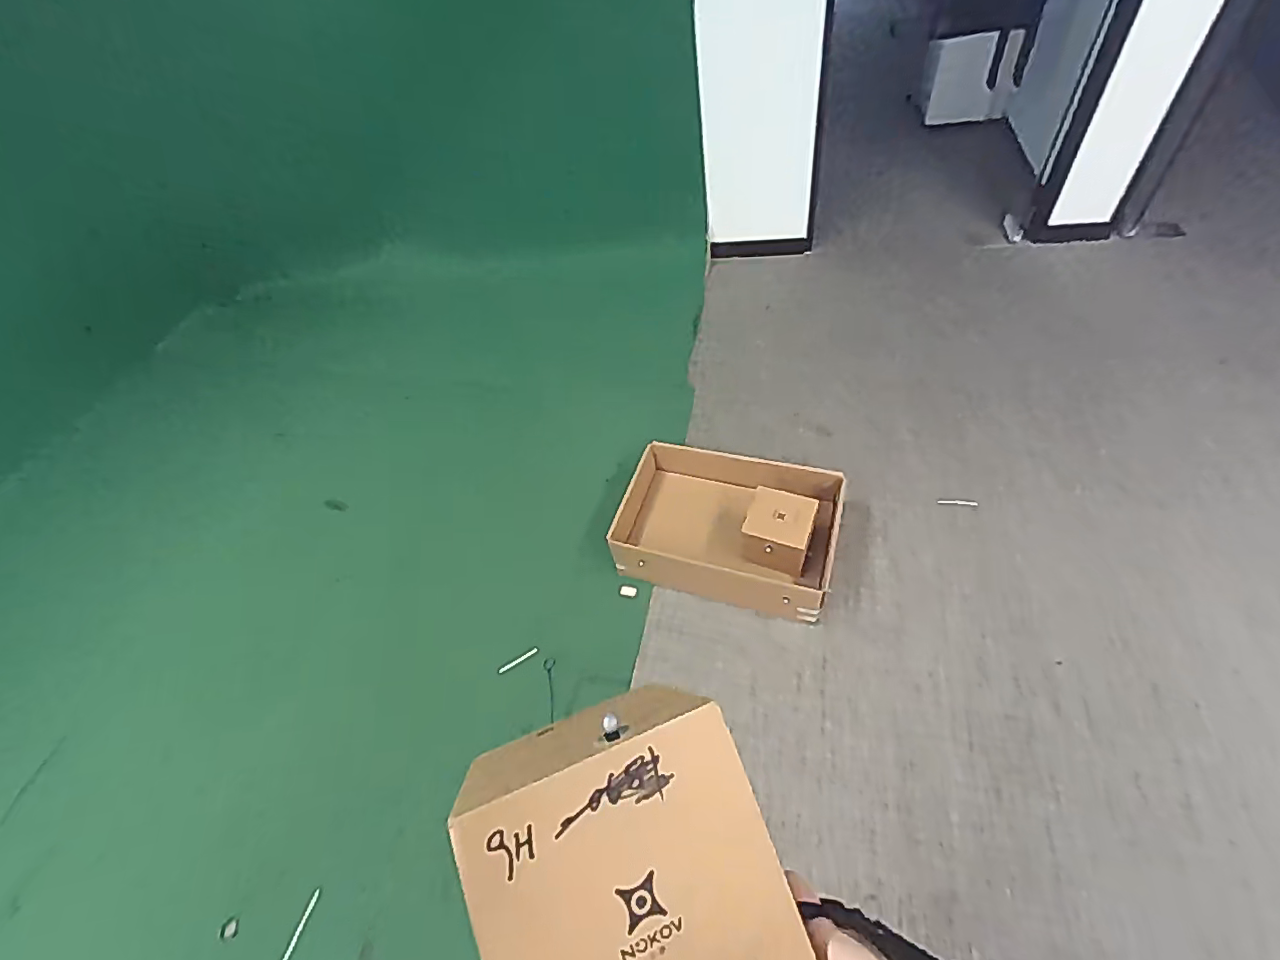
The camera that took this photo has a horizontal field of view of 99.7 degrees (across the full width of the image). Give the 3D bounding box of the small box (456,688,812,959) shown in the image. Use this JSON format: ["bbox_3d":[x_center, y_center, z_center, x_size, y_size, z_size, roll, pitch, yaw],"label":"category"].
[{"bbox_3d":[-0.013,0.262,0.369,0.168,0.176,0.179,-17,78,-17],"label":"small box"}]
